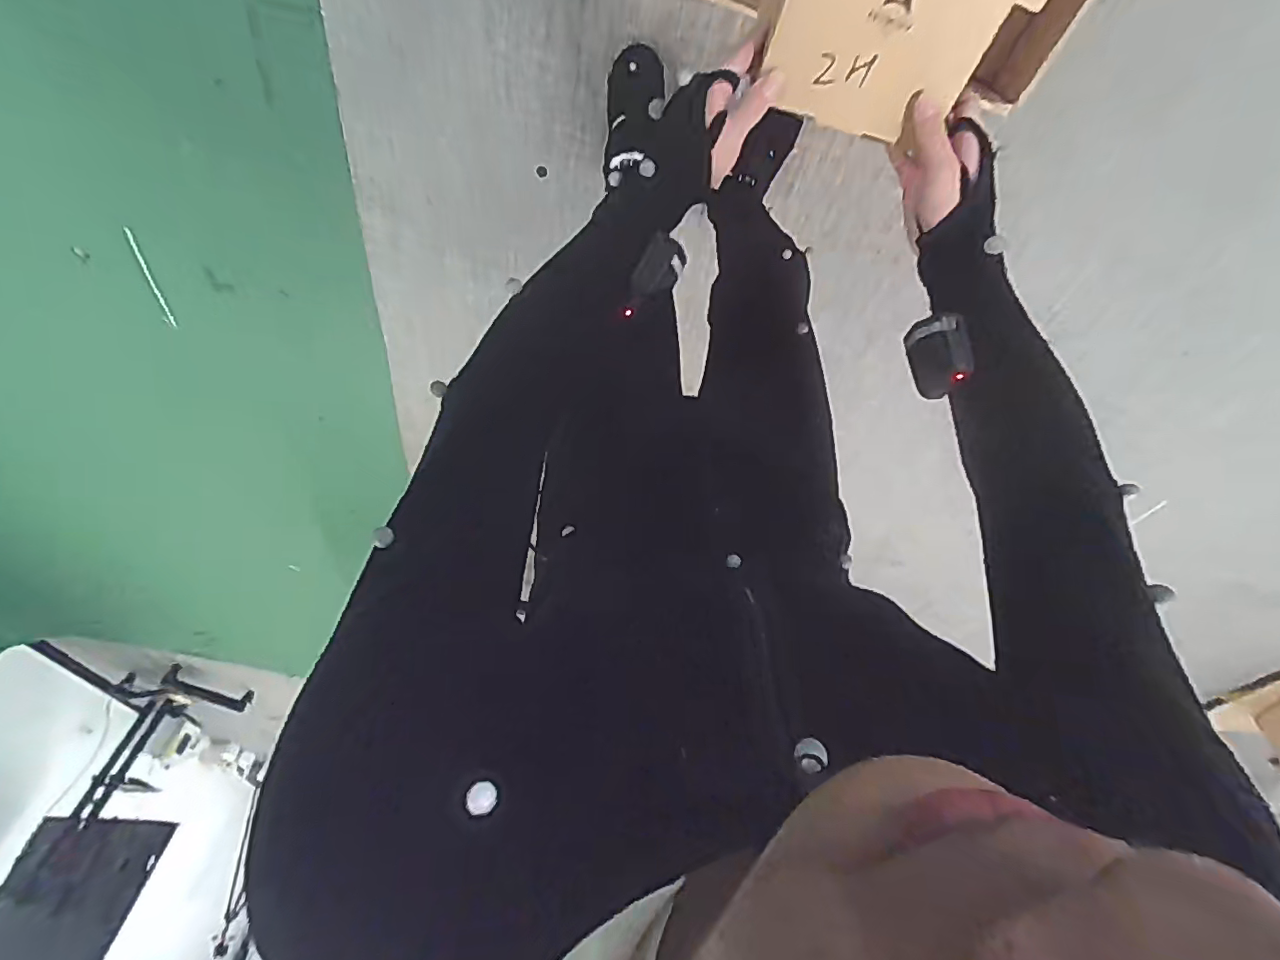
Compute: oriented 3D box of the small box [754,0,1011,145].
[{"bbox_3d":[0.201,-0.428,0.456,0.168,0.176,0.179,13,141,-6],"label":"small box"}]
